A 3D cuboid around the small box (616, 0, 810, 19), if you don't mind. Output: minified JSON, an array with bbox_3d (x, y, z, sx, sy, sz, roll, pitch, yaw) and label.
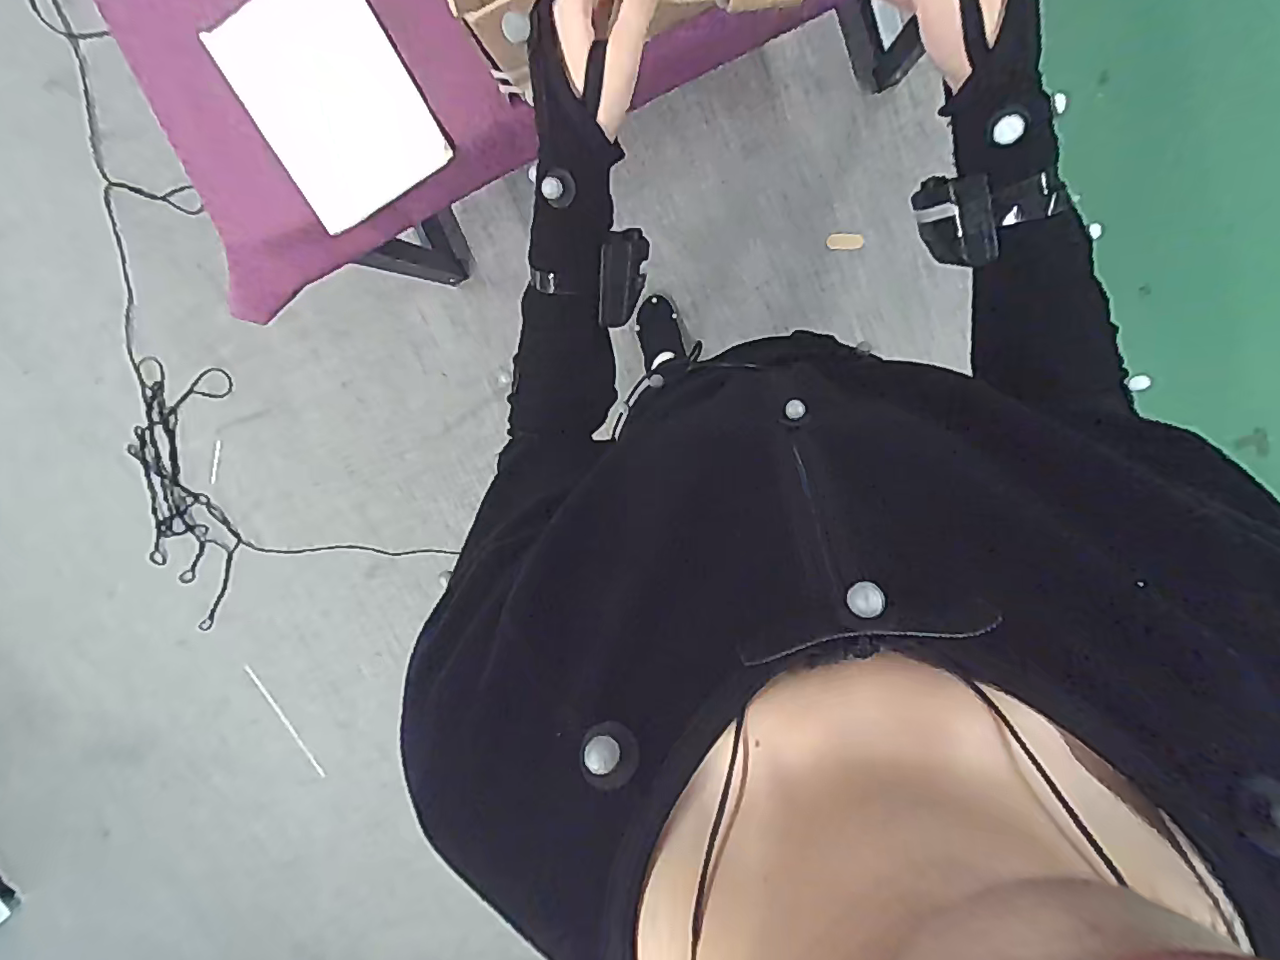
[{"bbox_3d":[0.055,-0.394,0.304,0.168,0.176,0.179,-9,138,-3],"label":"small box"}]

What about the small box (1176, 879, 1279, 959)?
[{"bbox_3d":[1.253,0.951,1.087,0.168,0.176,0.179,-31,98,11],"label":"small box"}]

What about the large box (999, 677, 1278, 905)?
[{"bbox_3d":[1.314,0.828,1.474,0.408,0.320,0.320,-36,99,11],"label":"large box"}]
